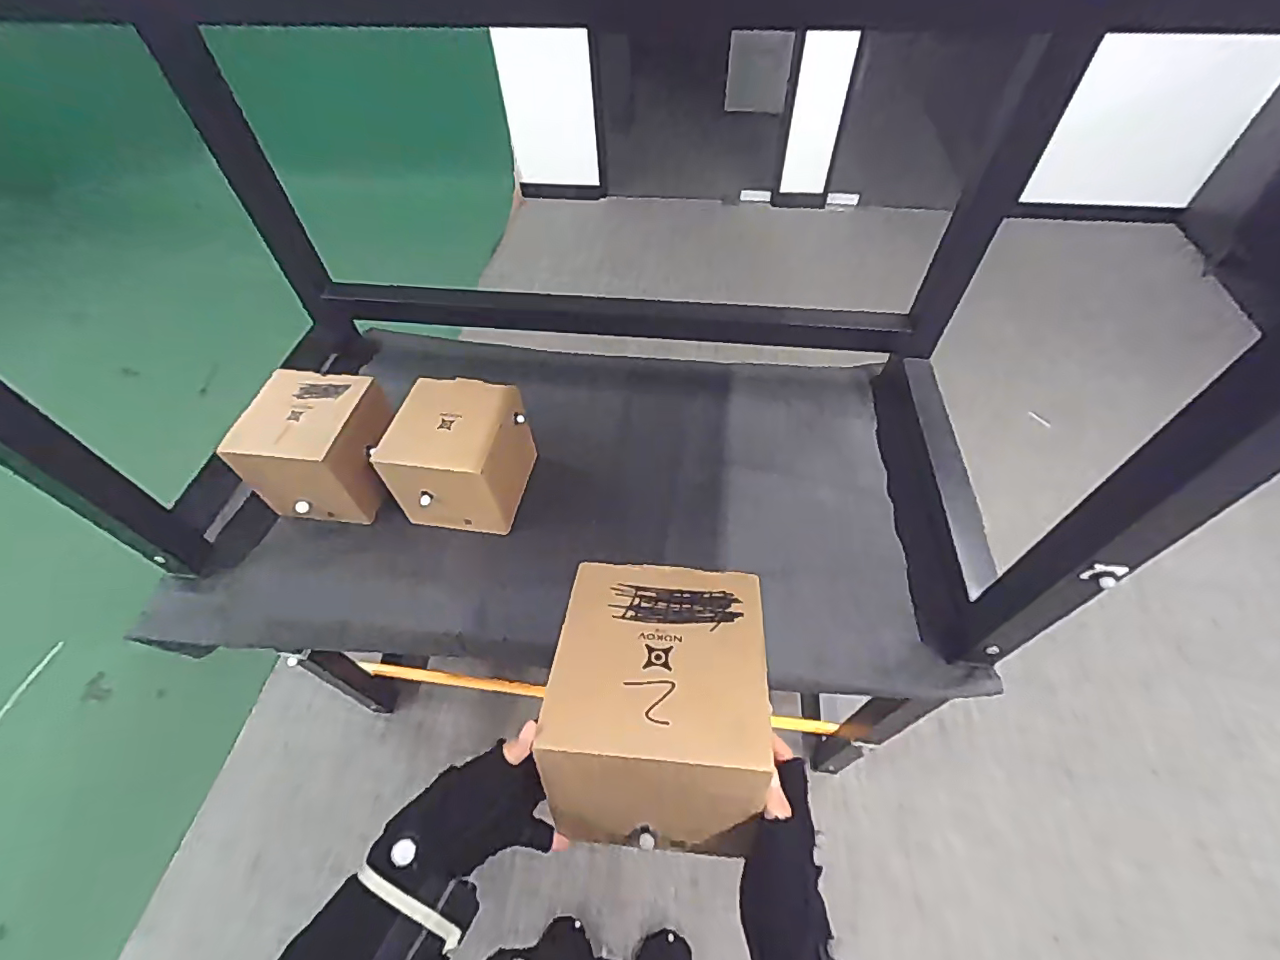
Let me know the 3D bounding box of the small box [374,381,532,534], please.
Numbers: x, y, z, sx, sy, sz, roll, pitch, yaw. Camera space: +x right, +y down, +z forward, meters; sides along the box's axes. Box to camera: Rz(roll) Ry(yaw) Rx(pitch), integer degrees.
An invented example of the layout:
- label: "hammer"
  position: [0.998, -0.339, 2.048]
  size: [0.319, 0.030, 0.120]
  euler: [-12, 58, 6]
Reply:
- label: "small box"
  position: [-0.282, -0.032, 0.867]
  size: [0.168, 0.176, 0.179]
  euler: [6, 52, 6]

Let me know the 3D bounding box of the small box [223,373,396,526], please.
- label: "small box"
  position: [-0.508, -0.049, 0.881]
  size: [0.168, 0.176, 0.179]
  euler: [5, 53, 5]
